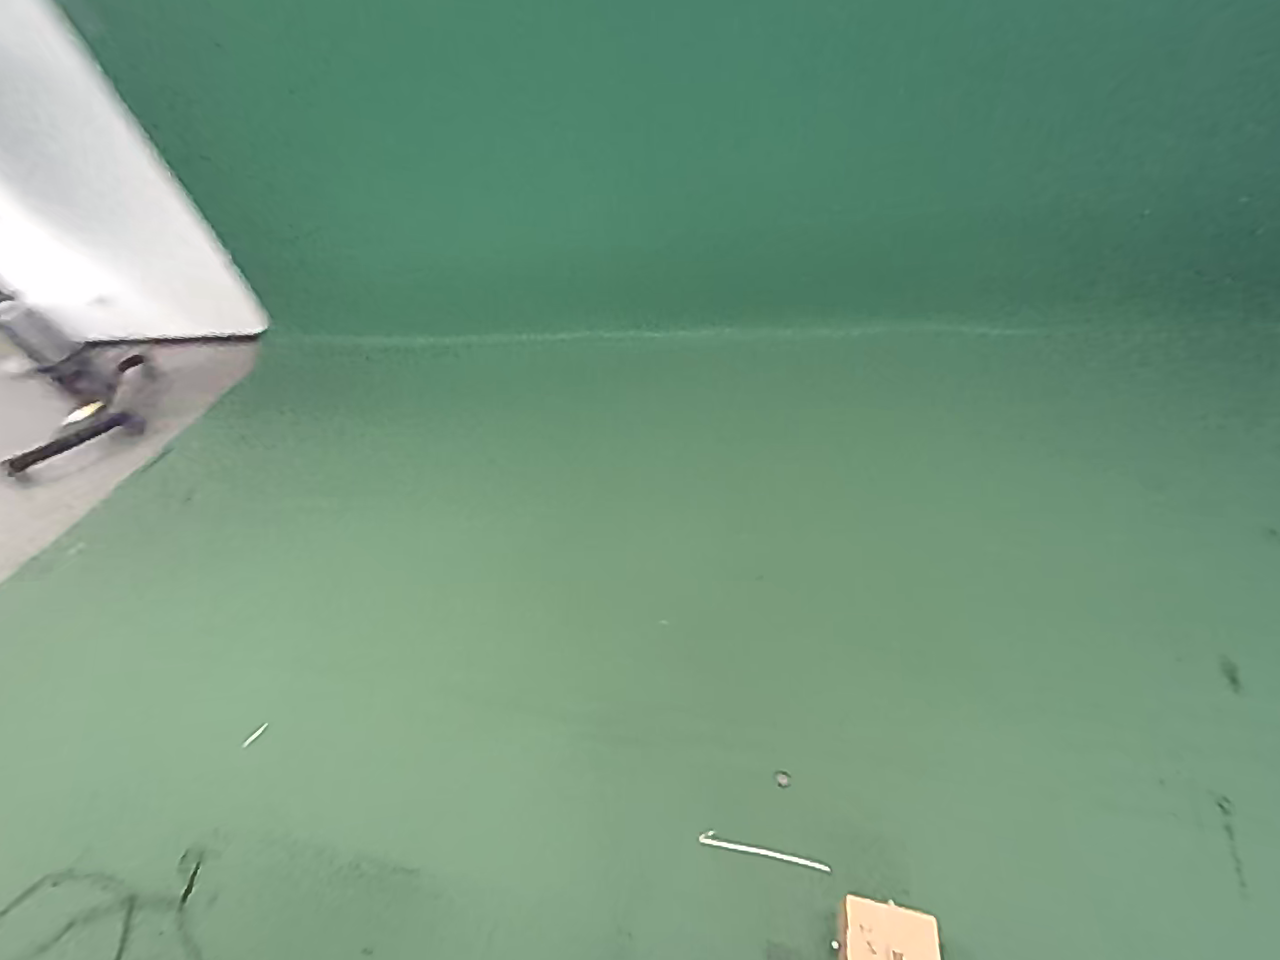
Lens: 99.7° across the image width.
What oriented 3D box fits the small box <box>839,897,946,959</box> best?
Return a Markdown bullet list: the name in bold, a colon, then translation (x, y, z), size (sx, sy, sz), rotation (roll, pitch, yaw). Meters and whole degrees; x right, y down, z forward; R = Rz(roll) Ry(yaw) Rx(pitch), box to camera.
- **small box**: translation (0.514, 0.993, 1.114), size (0.179, 0.176, 0.168), rotation (5, 47, 15)
